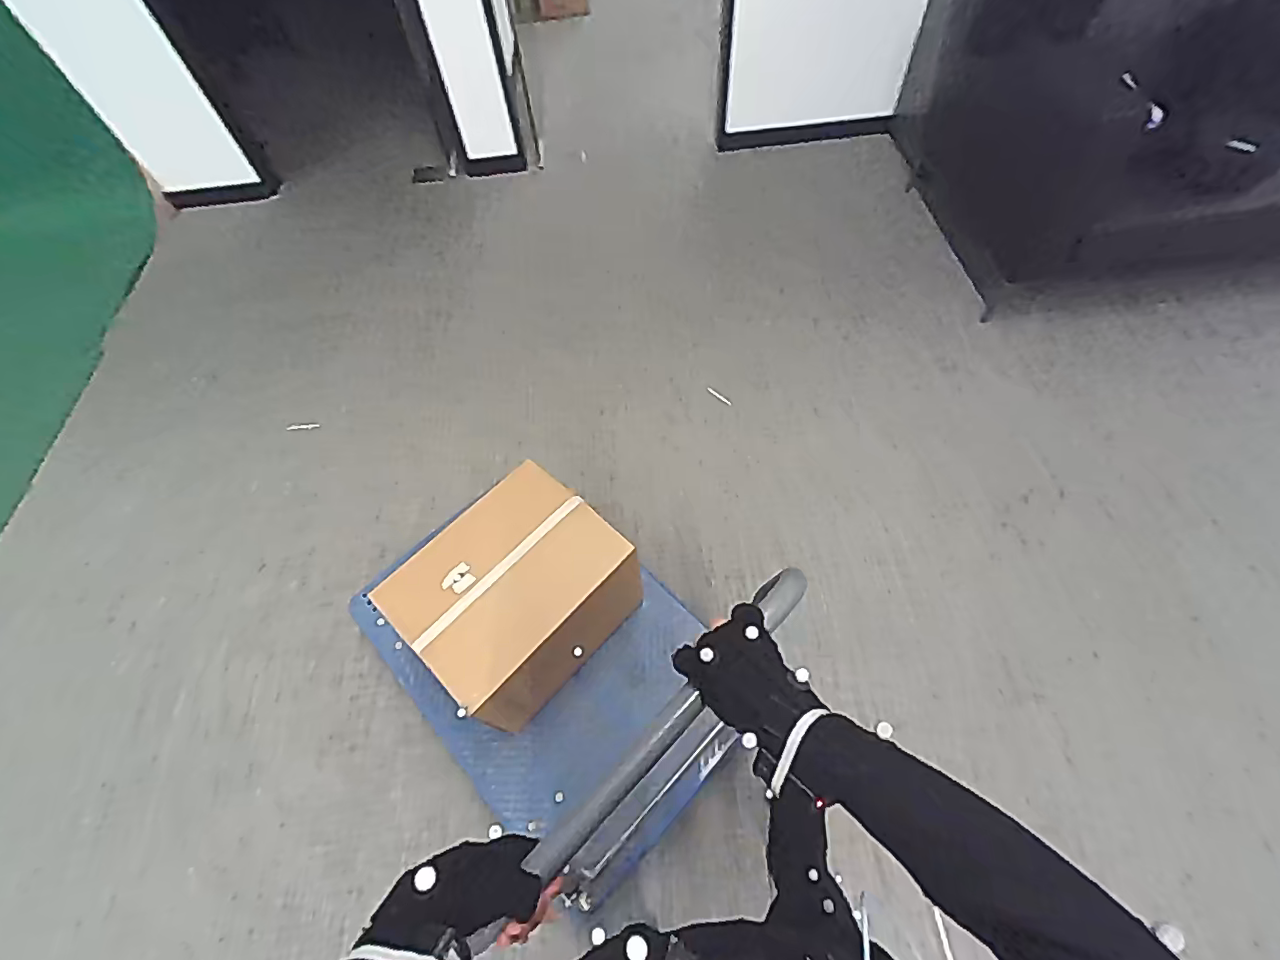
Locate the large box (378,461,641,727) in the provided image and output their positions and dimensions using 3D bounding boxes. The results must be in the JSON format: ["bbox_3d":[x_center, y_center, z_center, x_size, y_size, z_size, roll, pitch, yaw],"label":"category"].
[{"bbox_3d":[-0.240,0.245,1.147,0.320,0.320,0.408,37,68,22],"label":"large box"}]
